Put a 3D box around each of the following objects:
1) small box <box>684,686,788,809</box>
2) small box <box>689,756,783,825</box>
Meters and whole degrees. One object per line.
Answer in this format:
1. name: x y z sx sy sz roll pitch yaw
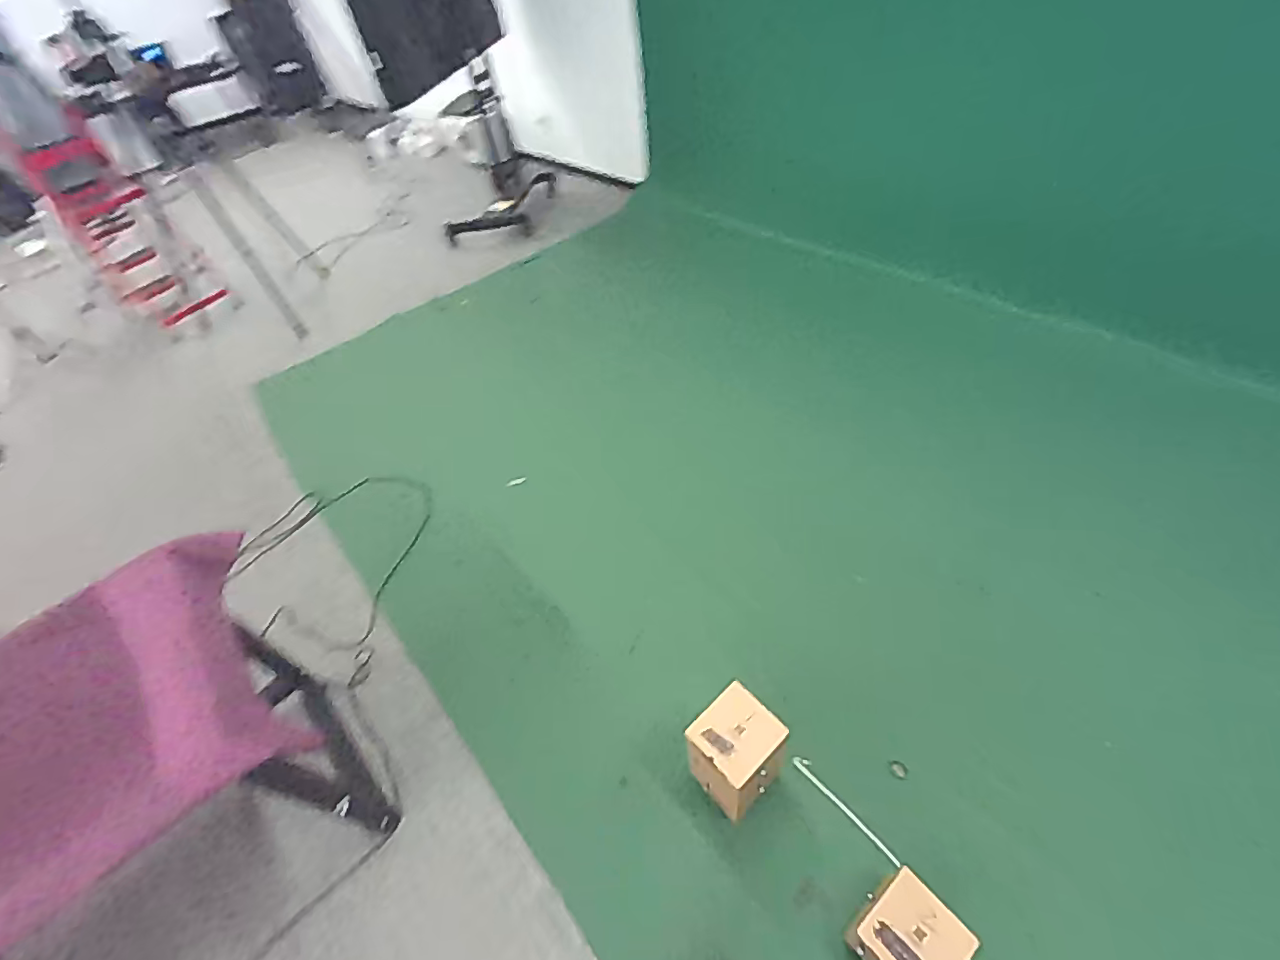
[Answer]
1. small box: 0.225 0.633 1.273 0.179 0.176 0.168 -36 53 -23
2. small box: 0.243 0.744 1.393 0.179 0.176 0.168 -36 52 -23
